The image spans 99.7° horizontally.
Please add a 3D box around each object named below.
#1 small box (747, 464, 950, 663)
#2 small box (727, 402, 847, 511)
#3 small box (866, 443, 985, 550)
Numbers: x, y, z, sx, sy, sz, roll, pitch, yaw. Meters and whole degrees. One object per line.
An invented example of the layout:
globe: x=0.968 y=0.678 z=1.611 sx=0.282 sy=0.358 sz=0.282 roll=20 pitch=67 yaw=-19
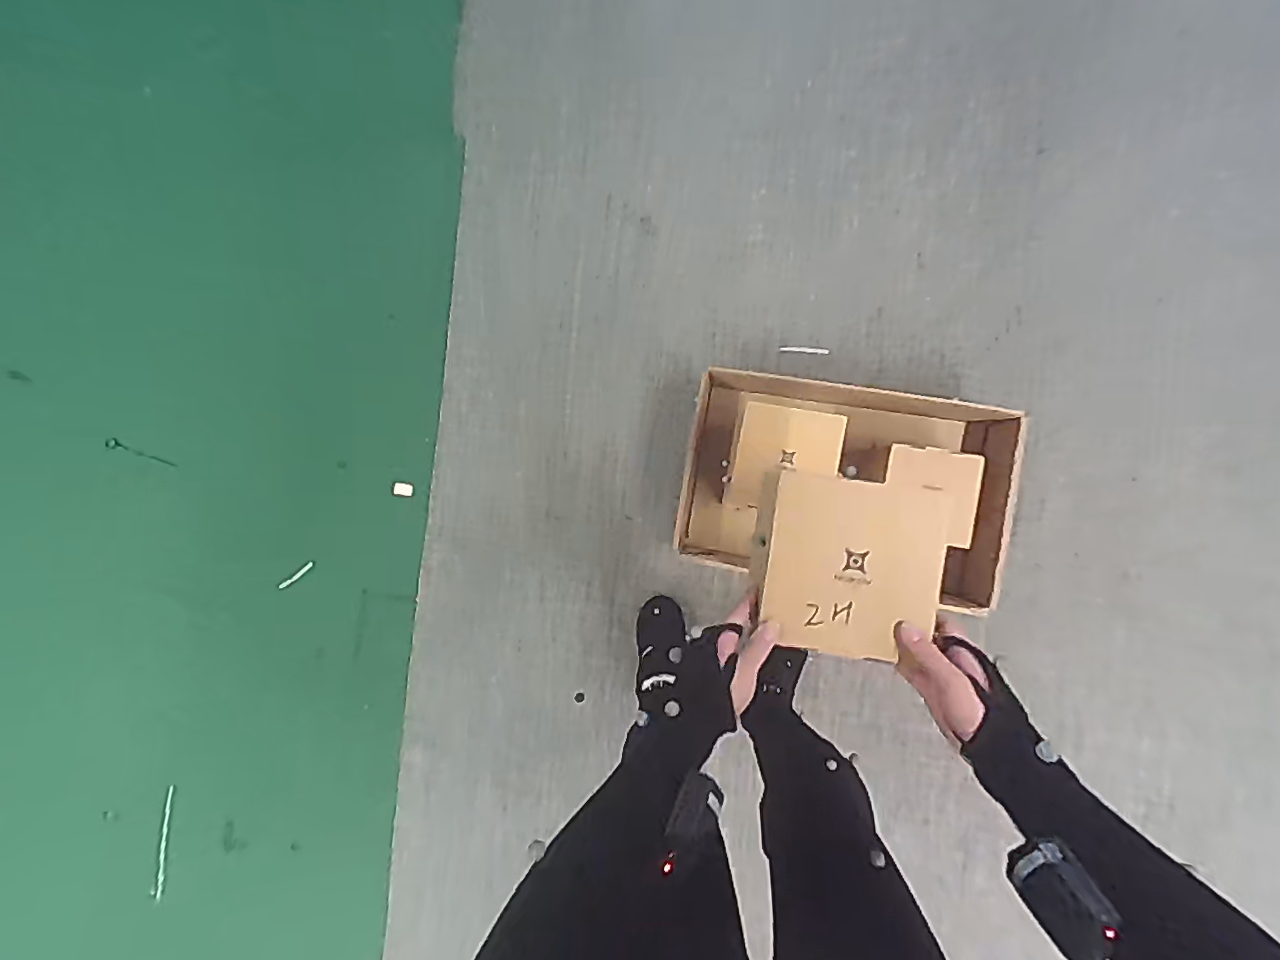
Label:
small box: x=0.216 y=0.080 z=0.608 sx=0.168 sy=0.176 sz=0.179 roll=8 pitch=92 yaw=7
small box: x=0.249 y=-0.027 z=0.957 sx=0.168 sy=0.176 sz=0.179 roll=10 pitch=90 yaw=8
small box: x=0.550 y=0.031 z=1.077 sx=0.168 sy=0.176 sz=0.179 roll=10 pitch=91 yaw=9
